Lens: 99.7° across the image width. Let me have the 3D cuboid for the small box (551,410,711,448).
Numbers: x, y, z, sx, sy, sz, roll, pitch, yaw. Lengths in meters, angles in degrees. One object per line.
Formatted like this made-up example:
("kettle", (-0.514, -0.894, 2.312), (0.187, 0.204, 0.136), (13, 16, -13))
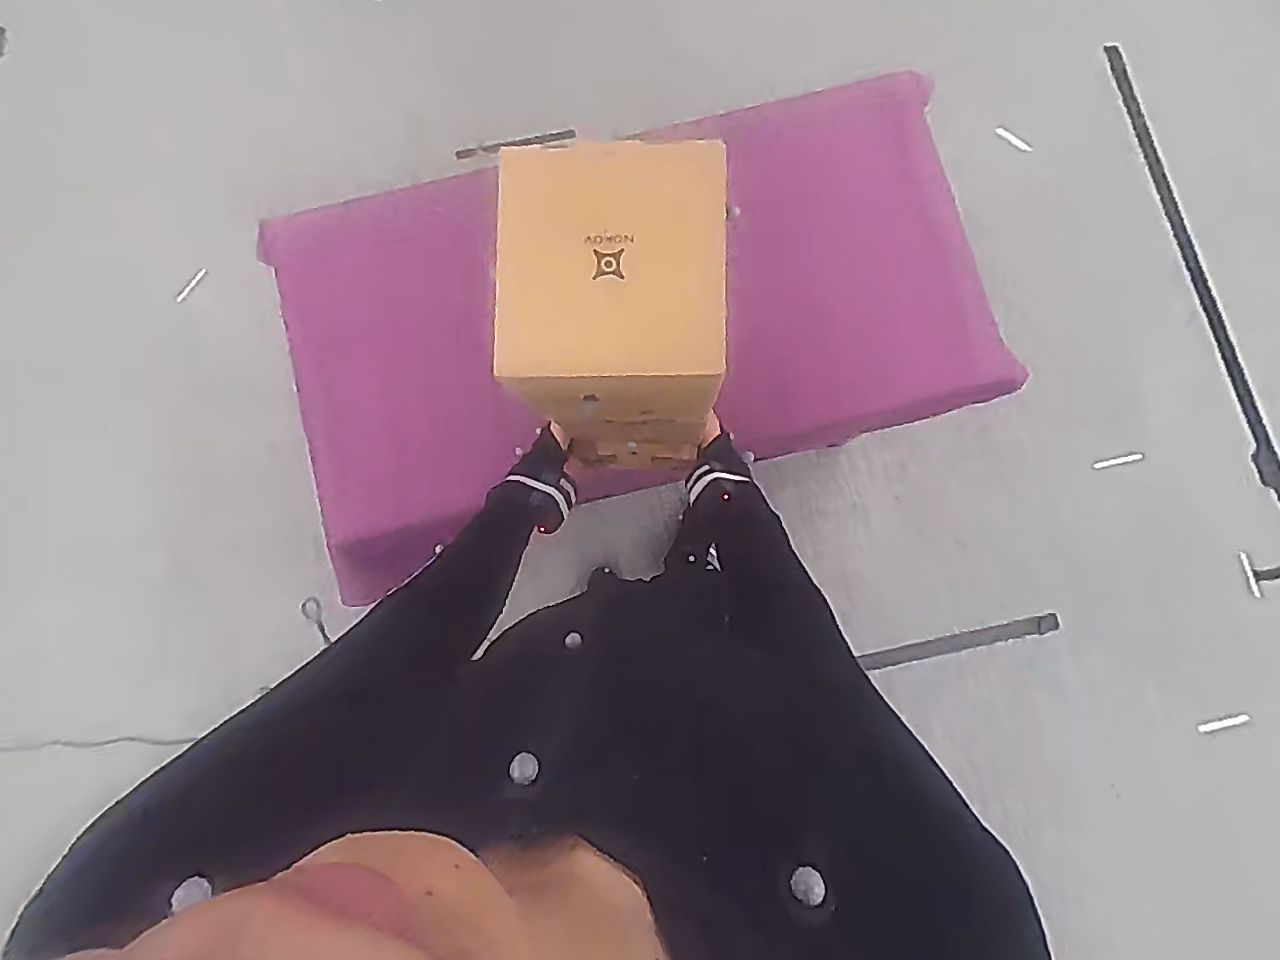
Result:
("small box", (-0.001, -0.139, 0.624), (0.168, 0.176, 0.179), (3, 86, 4))

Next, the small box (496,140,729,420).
("small box", (-0.014, -0.150, 0.462), (0.168, 0.176, 0.179), (0, 85, 4))
